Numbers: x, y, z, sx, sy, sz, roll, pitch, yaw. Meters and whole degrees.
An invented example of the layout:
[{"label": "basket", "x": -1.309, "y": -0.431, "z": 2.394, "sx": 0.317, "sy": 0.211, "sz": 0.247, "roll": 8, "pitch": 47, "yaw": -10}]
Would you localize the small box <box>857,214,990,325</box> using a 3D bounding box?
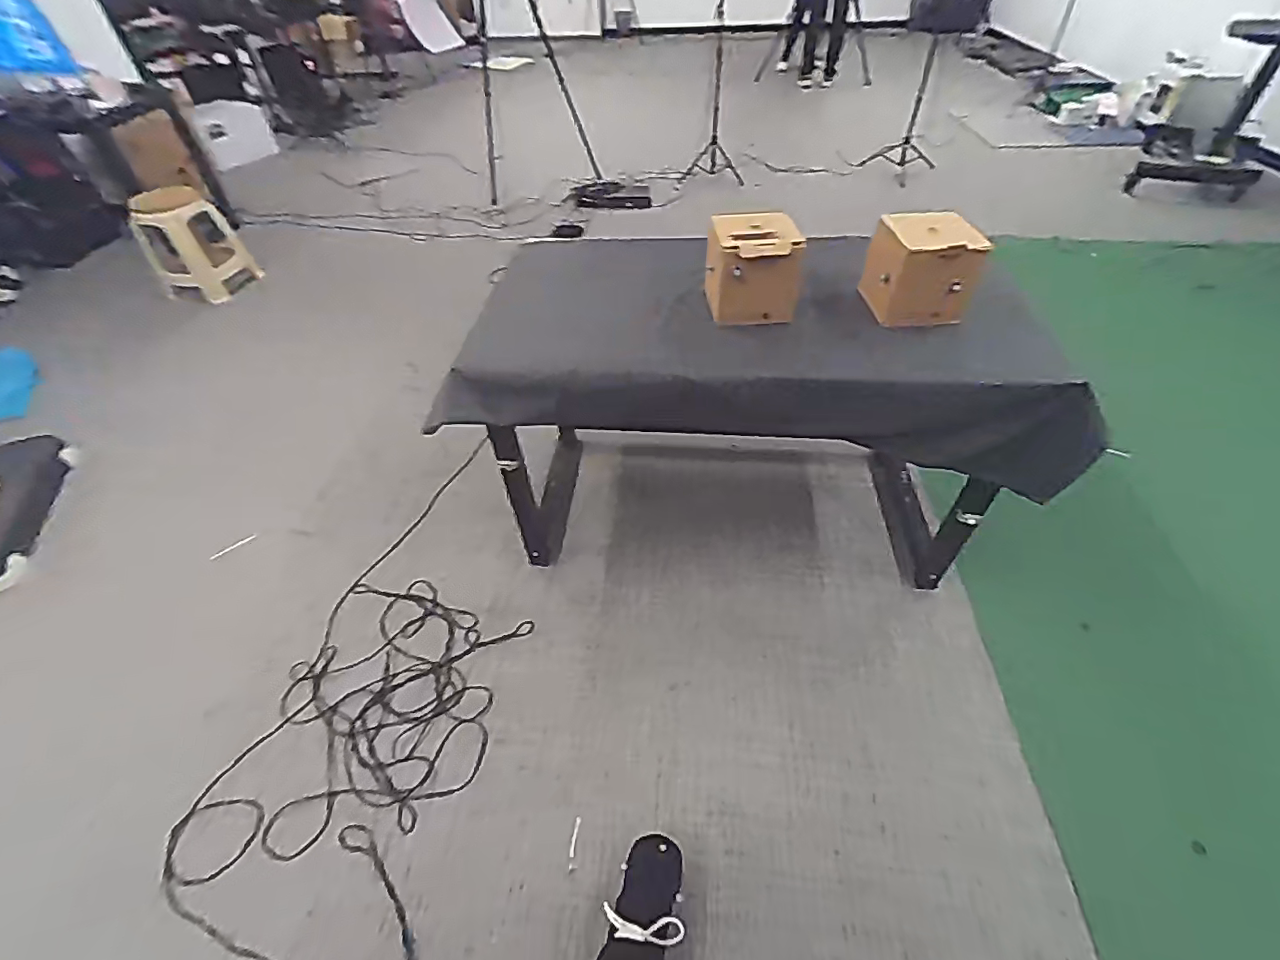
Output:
[{"label": "small box", "x": 0.580, "y": -0.438, "z": 1.133, "sx": 0.168, "sy": 0.176, "sz": 0.179, "roll": -2, "pitch": 45, "yaw": -1}]
